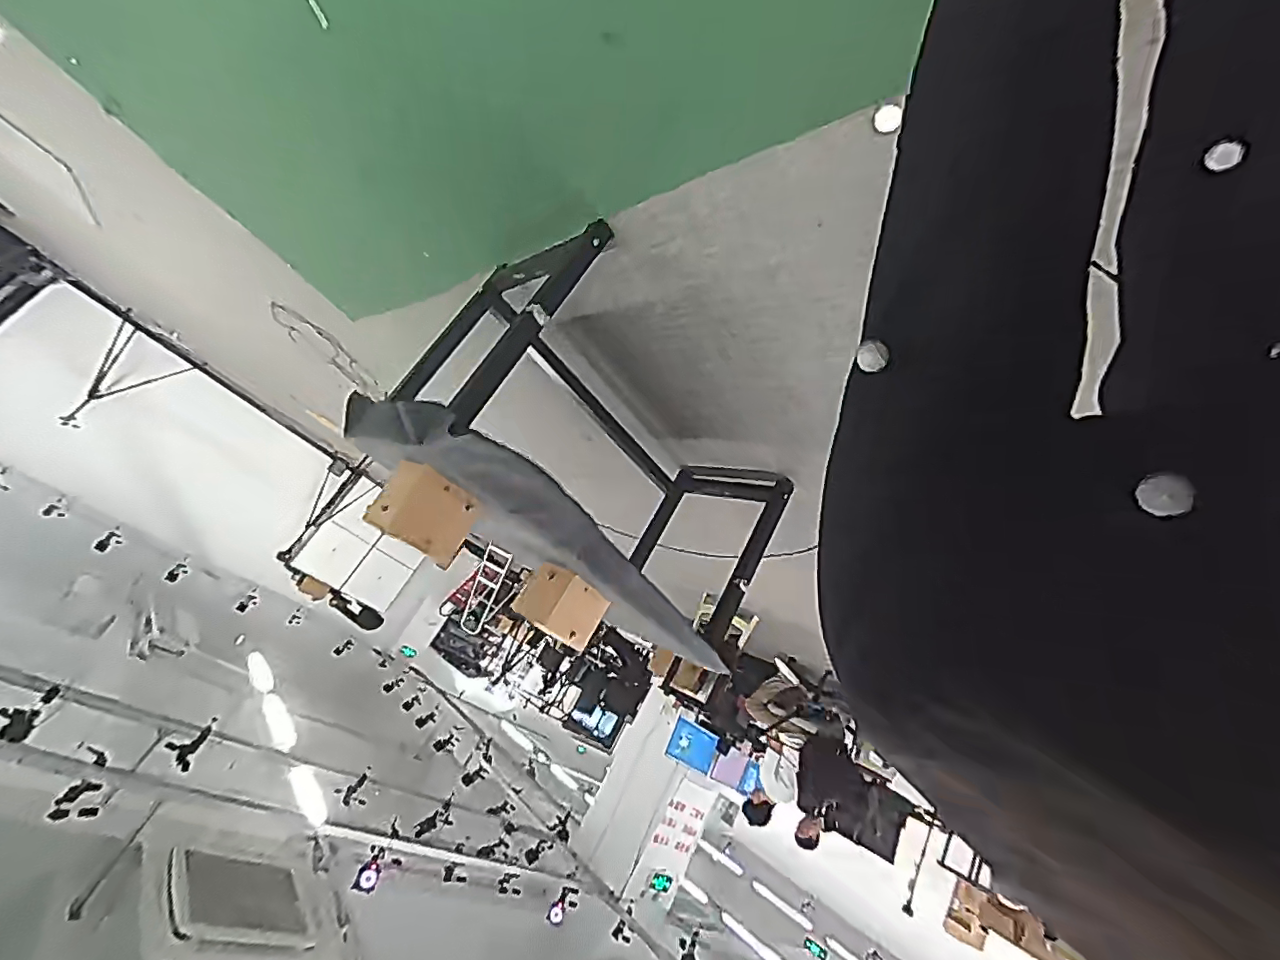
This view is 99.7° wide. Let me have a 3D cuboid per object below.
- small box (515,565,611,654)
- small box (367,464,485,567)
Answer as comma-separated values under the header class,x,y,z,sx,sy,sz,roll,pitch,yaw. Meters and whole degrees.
class,x,y,z,sx,sy,sz,roll,pitch,yaw
small box,-0.216,0.362,1.544,0.179,0.176,0.168,9,150,49
small box,-0.489,0.076,1.253,0.179,0.176,0.168,10,153,49
